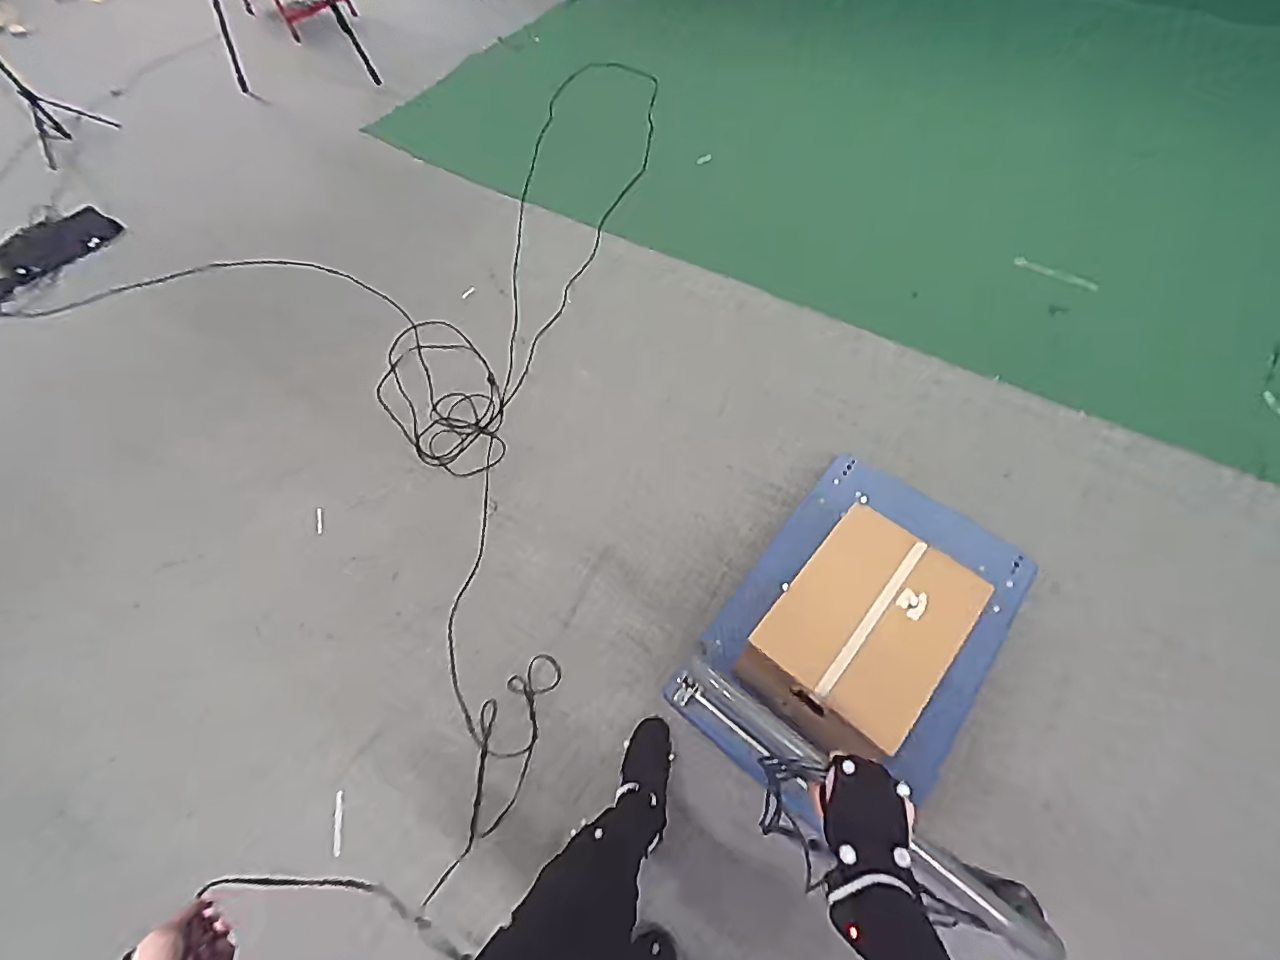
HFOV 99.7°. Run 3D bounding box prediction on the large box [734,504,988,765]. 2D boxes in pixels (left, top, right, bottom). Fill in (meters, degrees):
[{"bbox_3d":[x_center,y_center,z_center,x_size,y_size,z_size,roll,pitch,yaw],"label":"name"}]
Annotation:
[{"bbox_3d":[0.454,0.342,1.180,0.320,0.320,0.408,37,68,20],"label":"large box"}]
